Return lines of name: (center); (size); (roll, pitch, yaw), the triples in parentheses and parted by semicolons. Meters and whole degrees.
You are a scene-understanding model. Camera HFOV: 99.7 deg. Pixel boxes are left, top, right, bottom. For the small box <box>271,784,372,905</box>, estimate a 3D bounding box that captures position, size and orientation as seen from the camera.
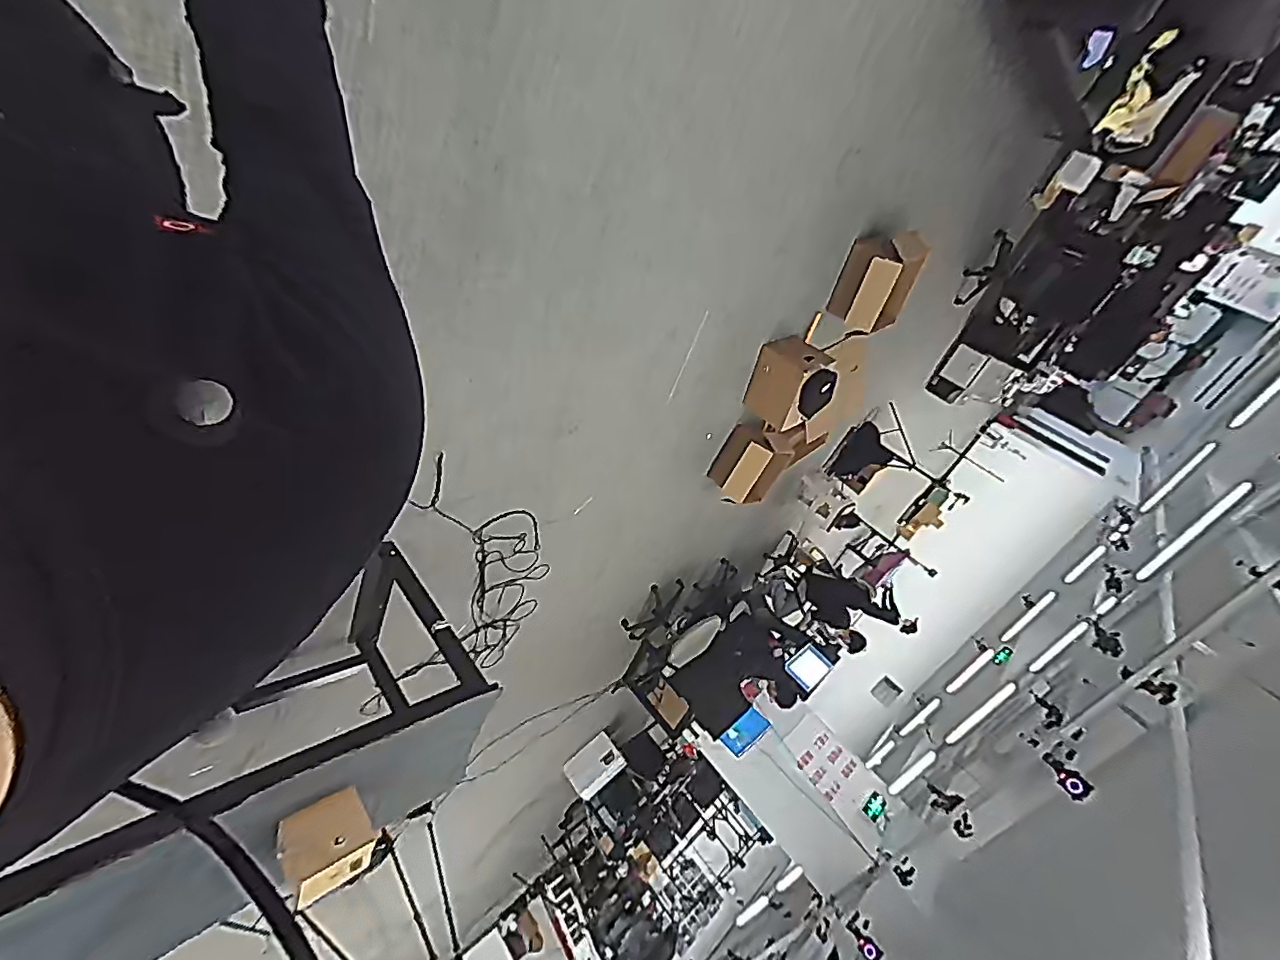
small box: (-0.832, 0.941, 1.411); (0.179, 0.176, 0.168); (-10, 135, -46)
